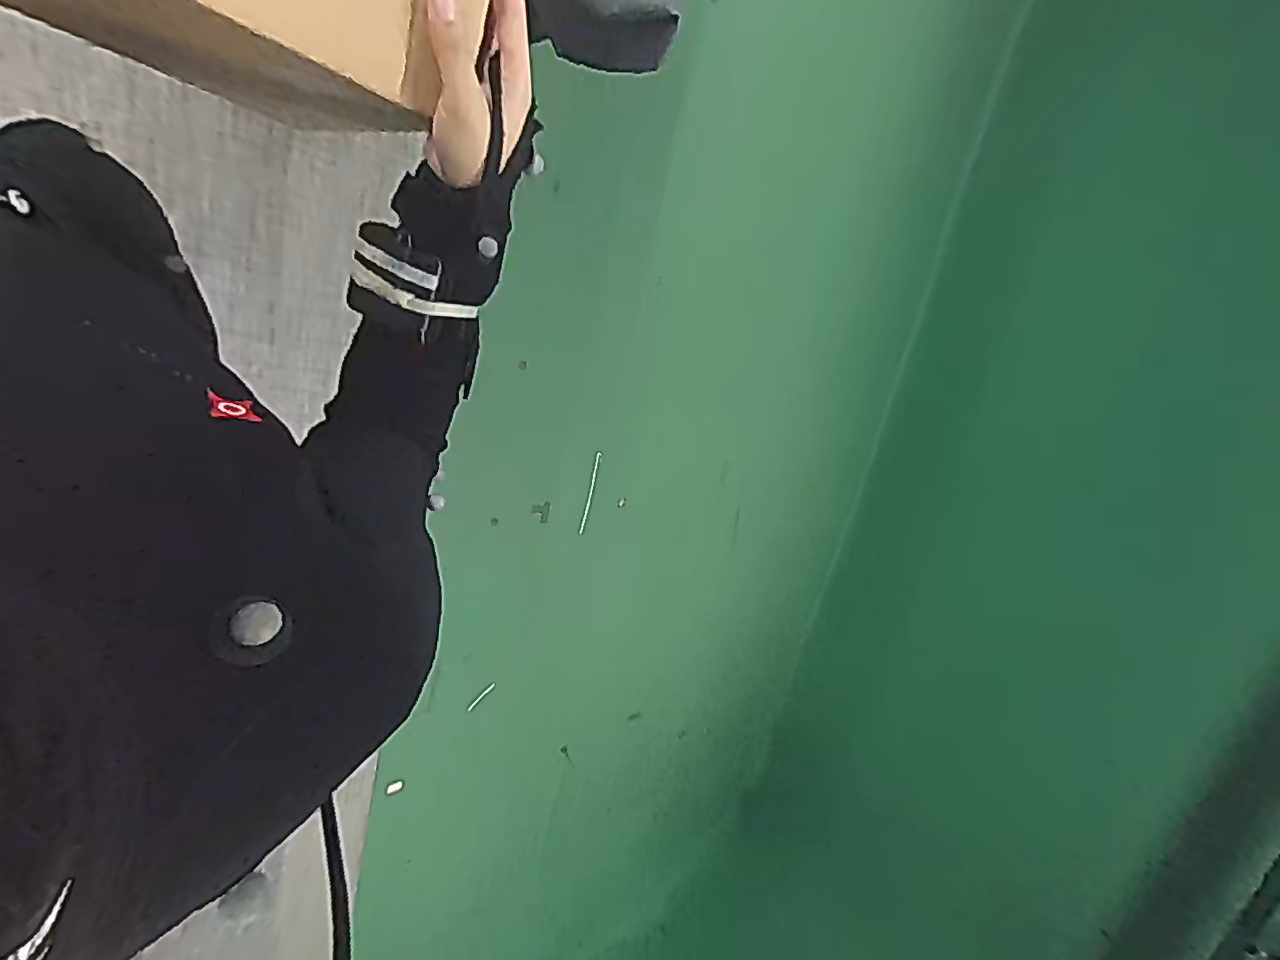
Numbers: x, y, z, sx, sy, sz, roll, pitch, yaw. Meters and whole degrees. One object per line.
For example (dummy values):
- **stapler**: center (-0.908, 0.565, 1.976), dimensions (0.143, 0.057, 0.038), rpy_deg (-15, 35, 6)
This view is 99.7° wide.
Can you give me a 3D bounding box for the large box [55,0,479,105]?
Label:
- **large box**: center (-0.303, -0.427, 0.234), dimensions (0.408, 0.320, 0.320), rpy_deg (-2, 116, -49)
